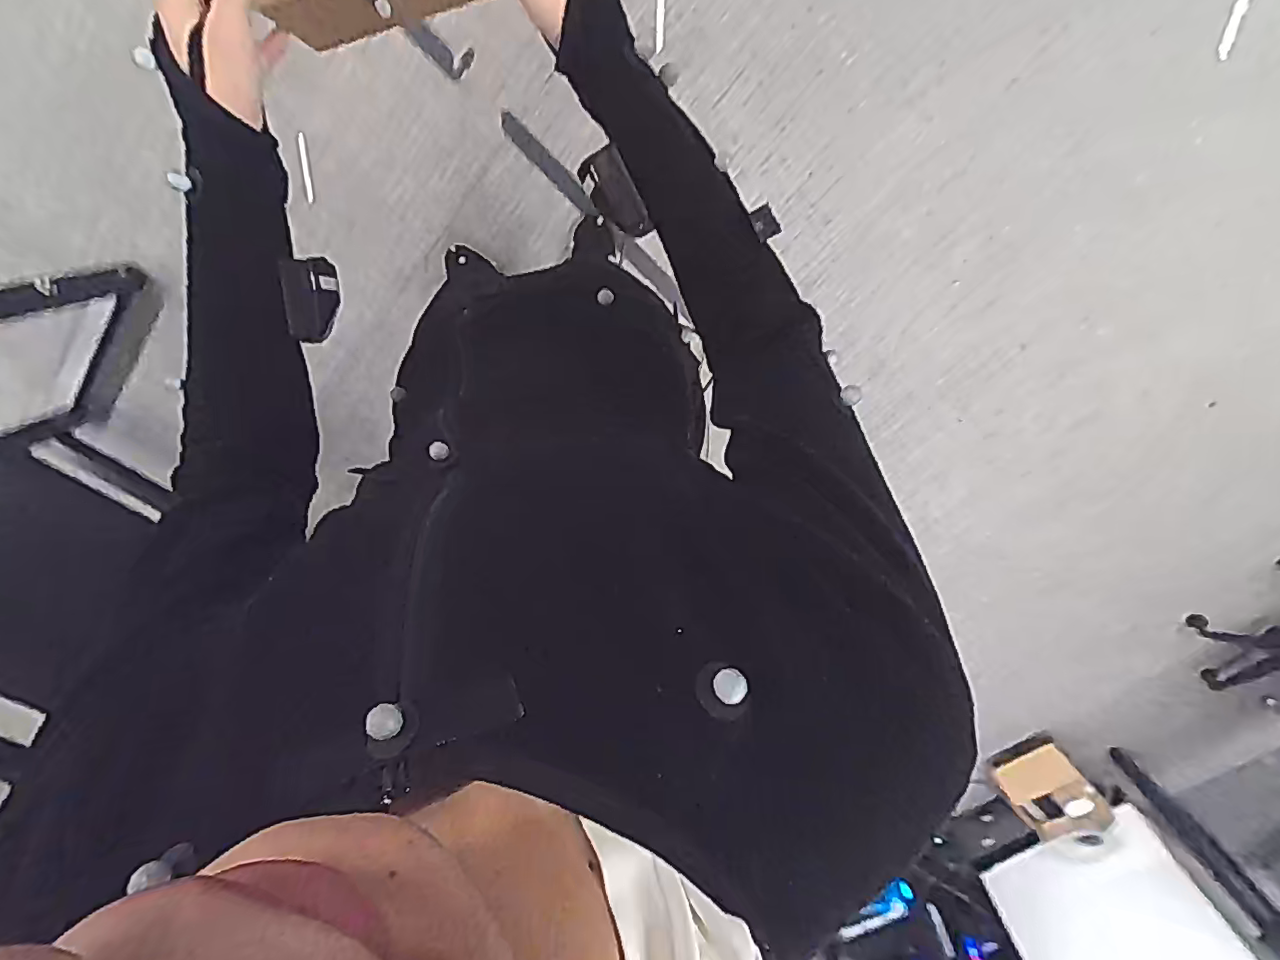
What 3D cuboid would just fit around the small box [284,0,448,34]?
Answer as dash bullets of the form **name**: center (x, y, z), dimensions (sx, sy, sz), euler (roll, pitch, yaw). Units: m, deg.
- **small box**: center (-0.210, -0.450, 0.381), dimensions (0.179, 0.176, 0.168), euler (-21, 124, -4)
